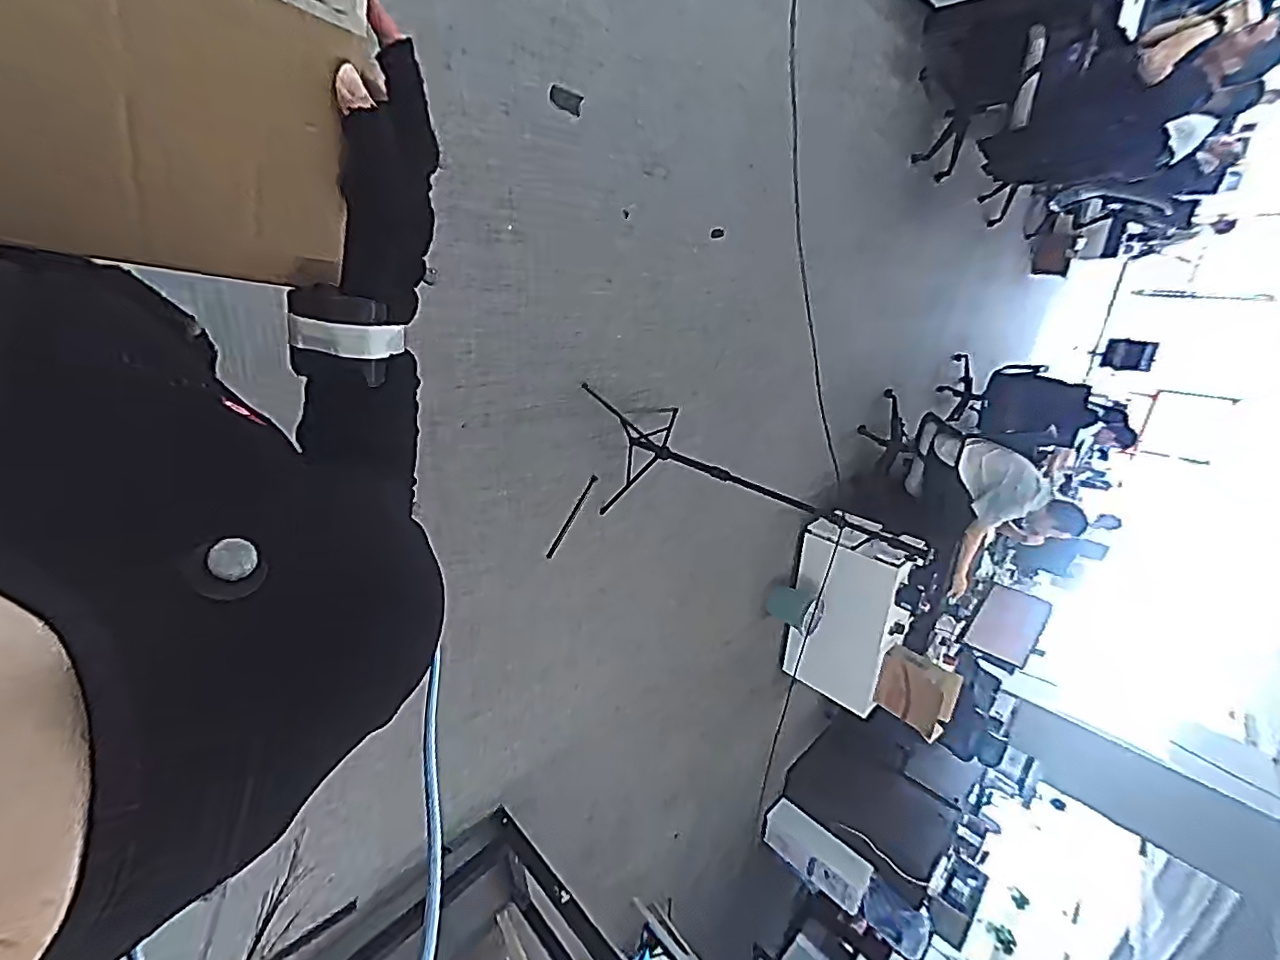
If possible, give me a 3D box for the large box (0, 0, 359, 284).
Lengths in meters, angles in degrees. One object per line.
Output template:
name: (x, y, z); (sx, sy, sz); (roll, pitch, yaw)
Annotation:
large box: (-0.396, -0.328, 0.261); (0.408, 0.320, 0.320); (-6, 130, -43)
